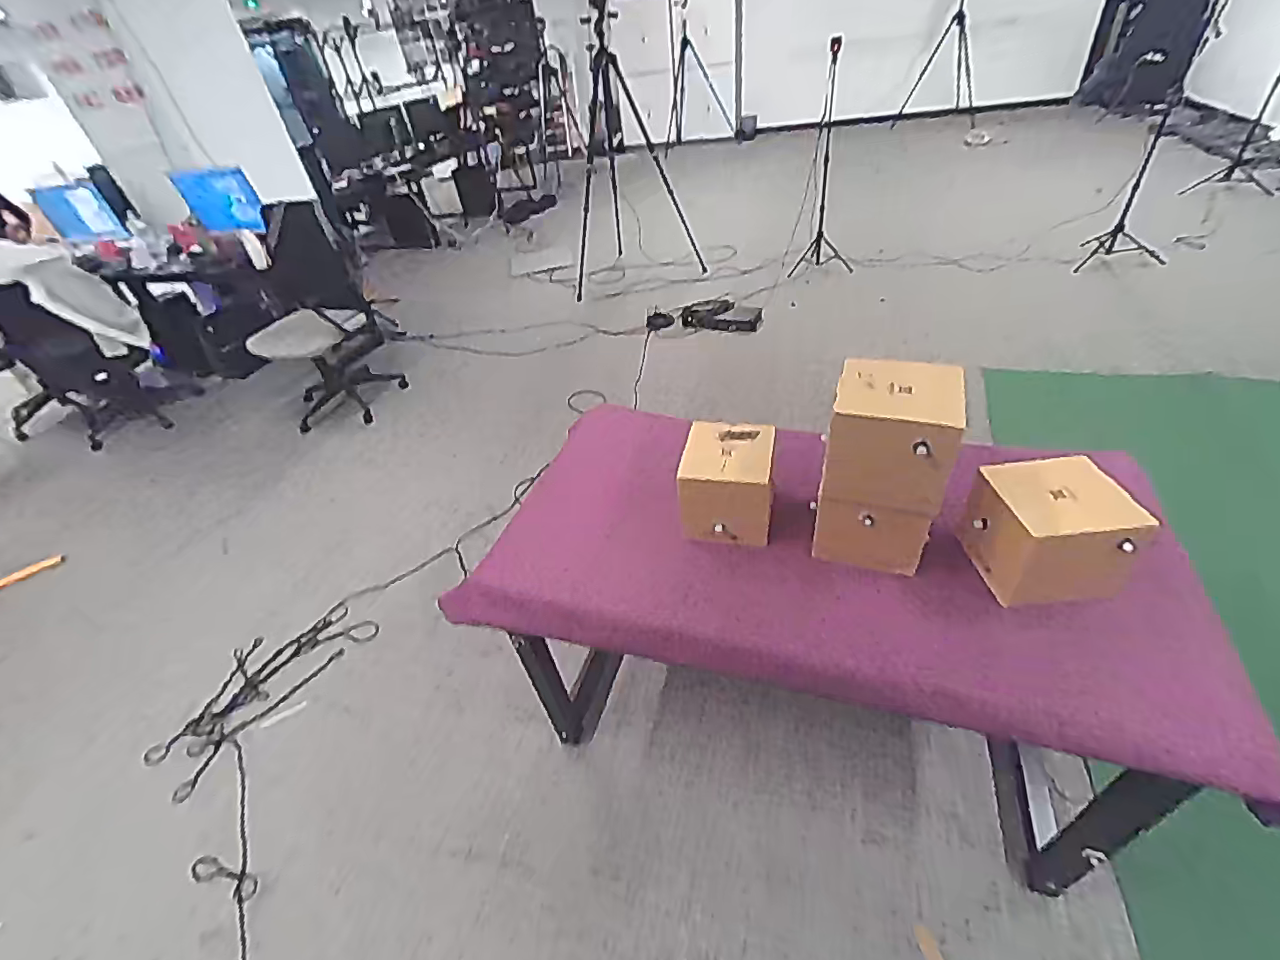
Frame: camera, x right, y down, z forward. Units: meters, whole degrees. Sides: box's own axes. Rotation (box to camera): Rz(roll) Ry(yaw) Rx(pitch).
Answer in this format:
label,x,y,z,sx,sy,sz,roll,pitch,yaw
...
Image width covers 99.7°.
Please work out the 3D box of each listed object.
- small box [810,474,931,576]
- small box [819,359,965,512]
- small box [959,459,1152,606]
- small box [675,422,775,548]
label,x,y,z,sx,sy,sz,roll,pitch,yaw
small box,0.409,0.048,0.969,0.179,0.176,0.168,11,44,21
small box,0.393,-0.071,0.856,0.179,0.176,0.168,11,43,22
small box,0.649,0.088,0.878,0.179,0.176,0.168,-6,39,3
small box,0.169,0.007,1.058,0.168,0.176,0.179,5,42,16
